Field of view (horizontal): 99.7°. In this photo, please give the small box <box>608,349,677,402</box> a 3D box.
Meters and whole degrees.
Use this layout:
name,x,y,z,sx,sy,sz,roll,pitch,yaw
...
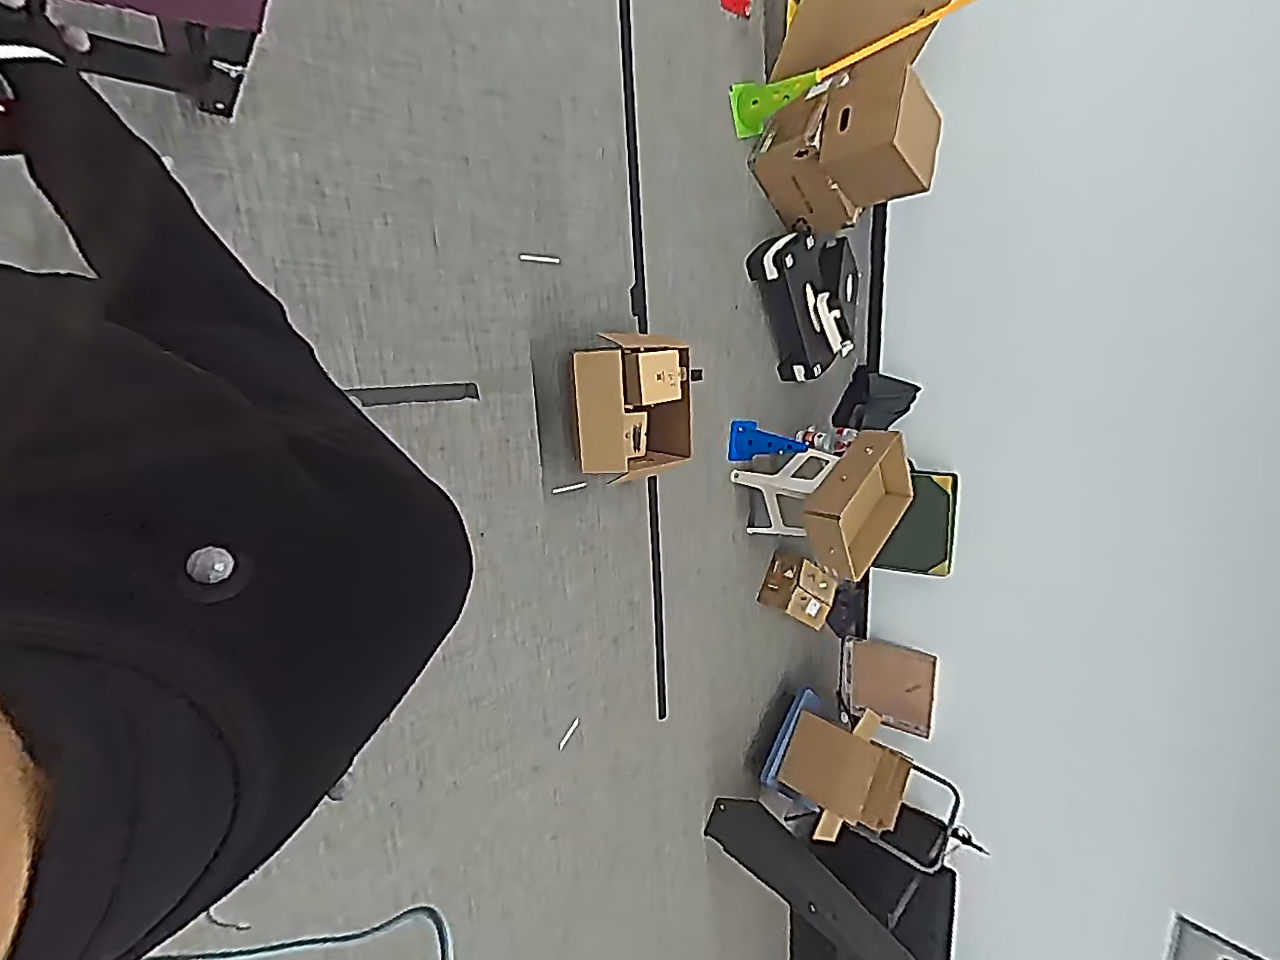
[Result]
name,x,y,z,sx,sy,sz,roll,pitch,yaw
small box,0.004,-0.353,1.824,0.179,0.176,0.168,-16,109,-39
